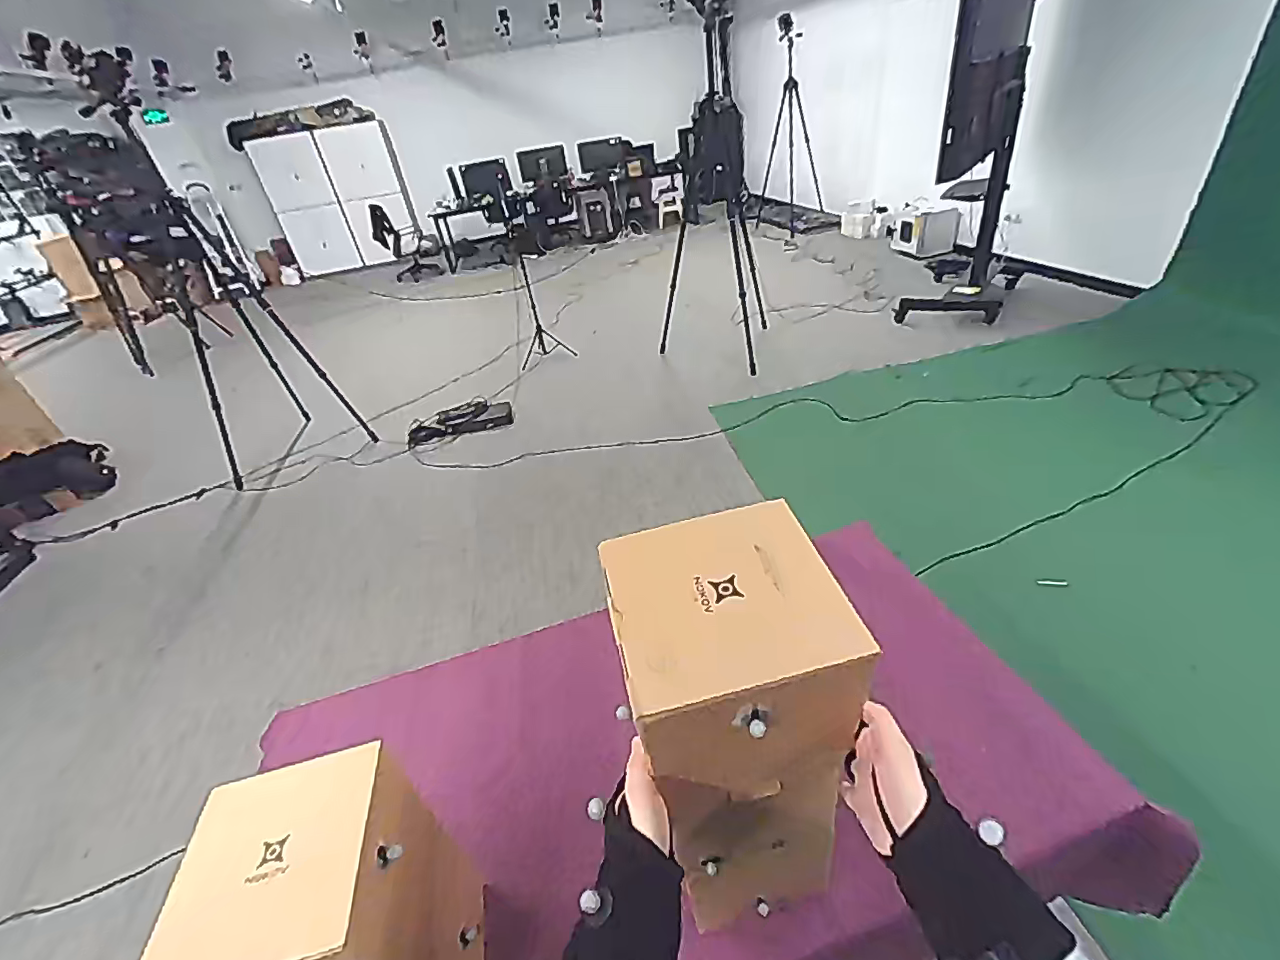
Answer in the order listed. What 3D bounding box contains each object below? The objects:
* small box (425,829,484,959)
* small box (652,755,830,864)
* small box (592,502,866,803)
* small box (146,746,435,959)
[{"bbox_3d":[-0.282,0.538,0.607,0.179,0.176,0.168,-15,34,-6],"label":"small box"},{"bbox_3d":[0.091,0.280,0.585,0.168,0.176,0.179,-14,33,-4],"label":"small box"},{"bbox_3d":[0.067,0.150,0.471,0.179,0.176,0.168,-14,41,-4],"label":"small box"},{"bbox_3d":[-0.312,0.402,0.523,0.168,0.176,0.179,-14,35,-6],"label":"small box"}]
